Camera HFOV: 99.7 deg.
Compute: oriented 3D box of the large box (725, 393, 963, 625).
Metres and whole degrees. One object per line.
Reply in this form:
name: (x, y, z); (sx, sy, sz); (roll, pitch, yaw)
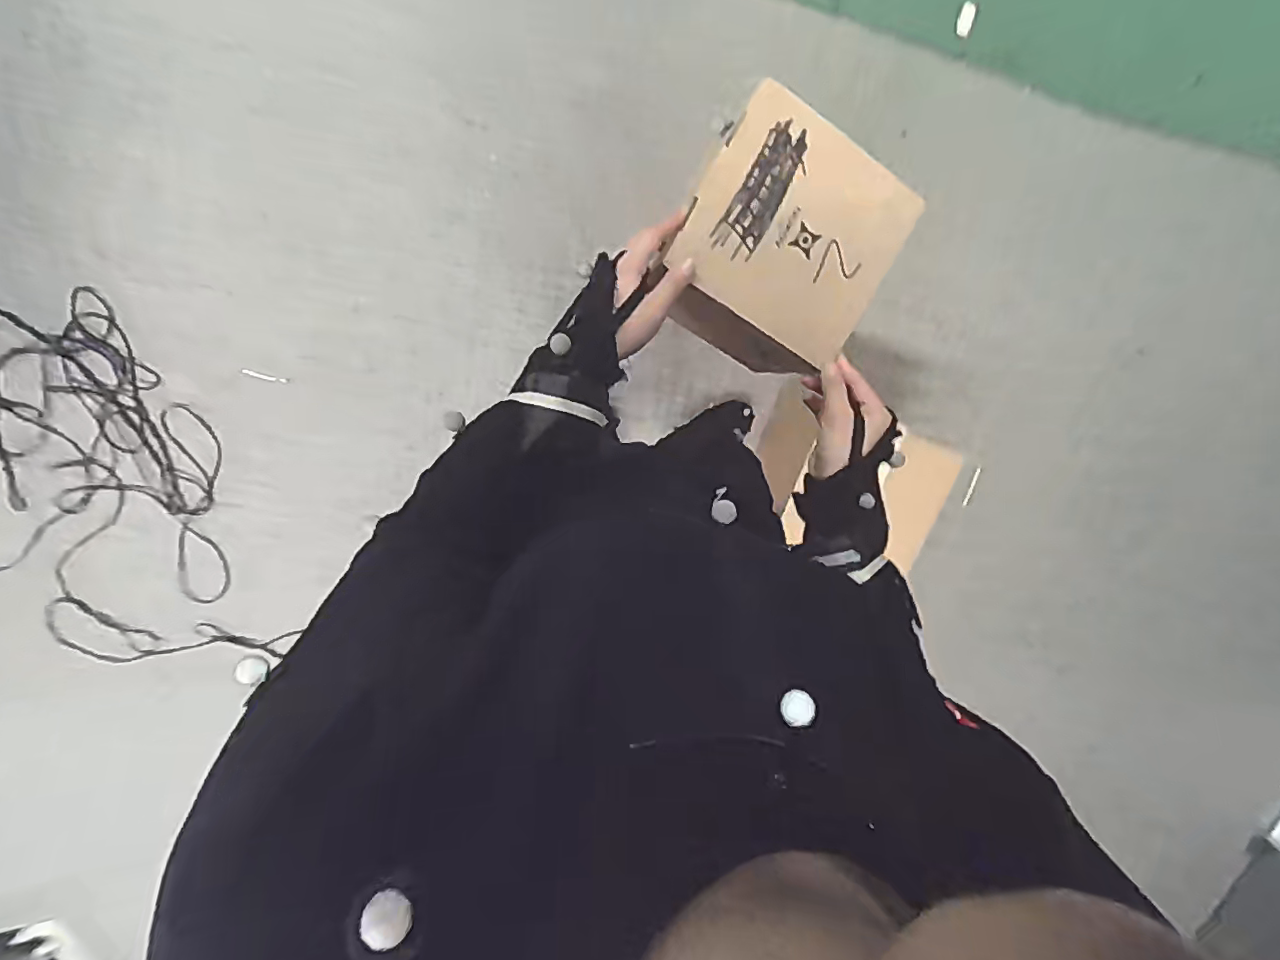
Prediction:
large box: (0.432, 0.049, 1.243); (0.320, 0.320, 0.408); (18, 105, -8)
